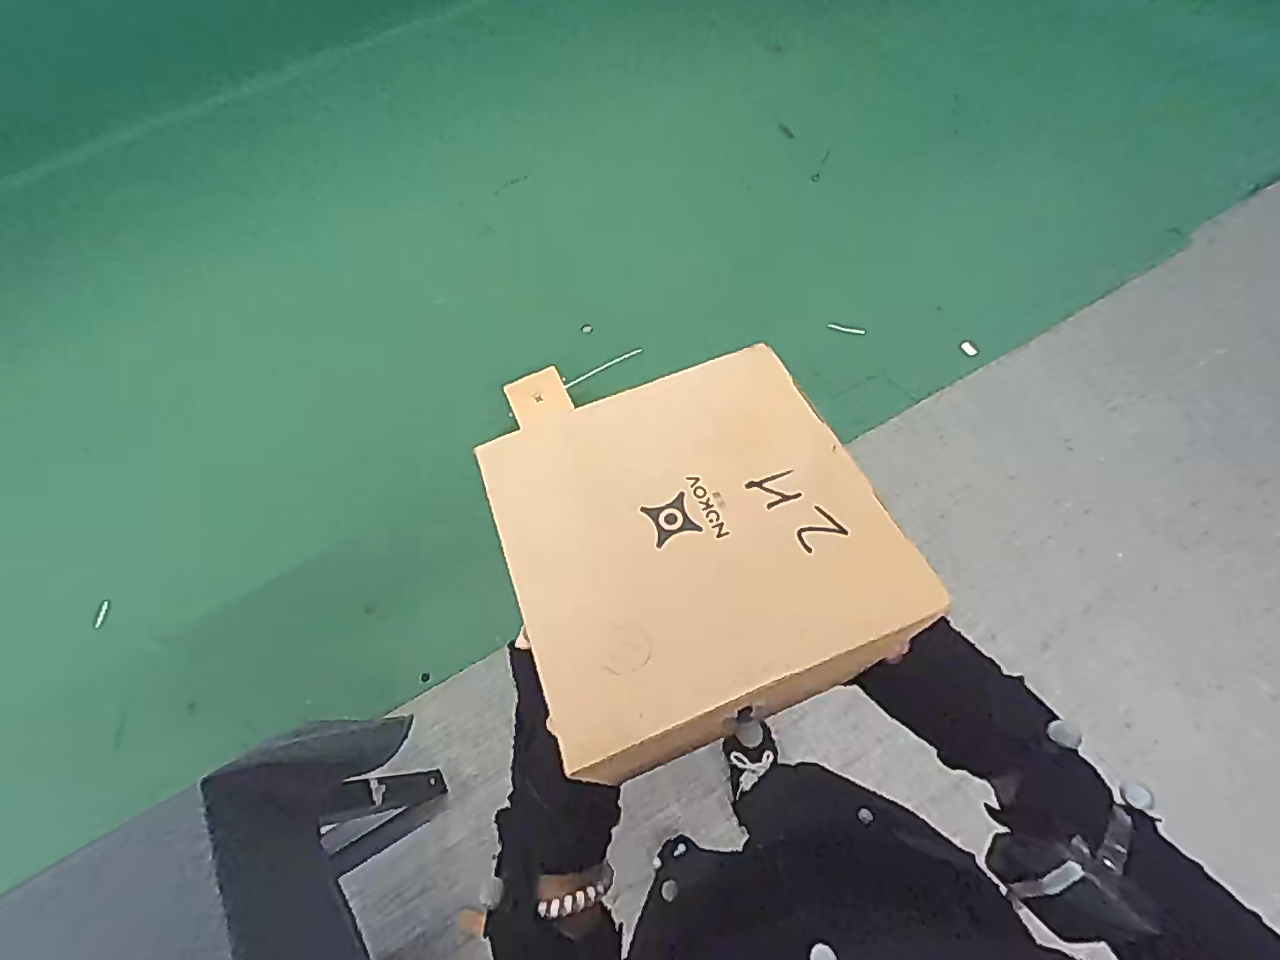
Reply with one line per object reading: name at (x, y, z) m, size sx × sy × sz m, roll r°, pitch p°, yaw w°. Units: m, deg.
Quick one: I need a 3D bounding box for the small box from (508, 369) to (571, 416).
small box at (-0.275, -0.196, 1.638) m, size 0.168 × 0.176 × 0.179 m, roll -24°, pitch 64°, yaw -6°

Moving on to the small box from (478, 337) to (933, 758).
small box at (0.026, 0.051, 0.329) m, size 0.179 × 0.176 × 0.168 m, roll -20°, pitch 60°, yaw -8°
